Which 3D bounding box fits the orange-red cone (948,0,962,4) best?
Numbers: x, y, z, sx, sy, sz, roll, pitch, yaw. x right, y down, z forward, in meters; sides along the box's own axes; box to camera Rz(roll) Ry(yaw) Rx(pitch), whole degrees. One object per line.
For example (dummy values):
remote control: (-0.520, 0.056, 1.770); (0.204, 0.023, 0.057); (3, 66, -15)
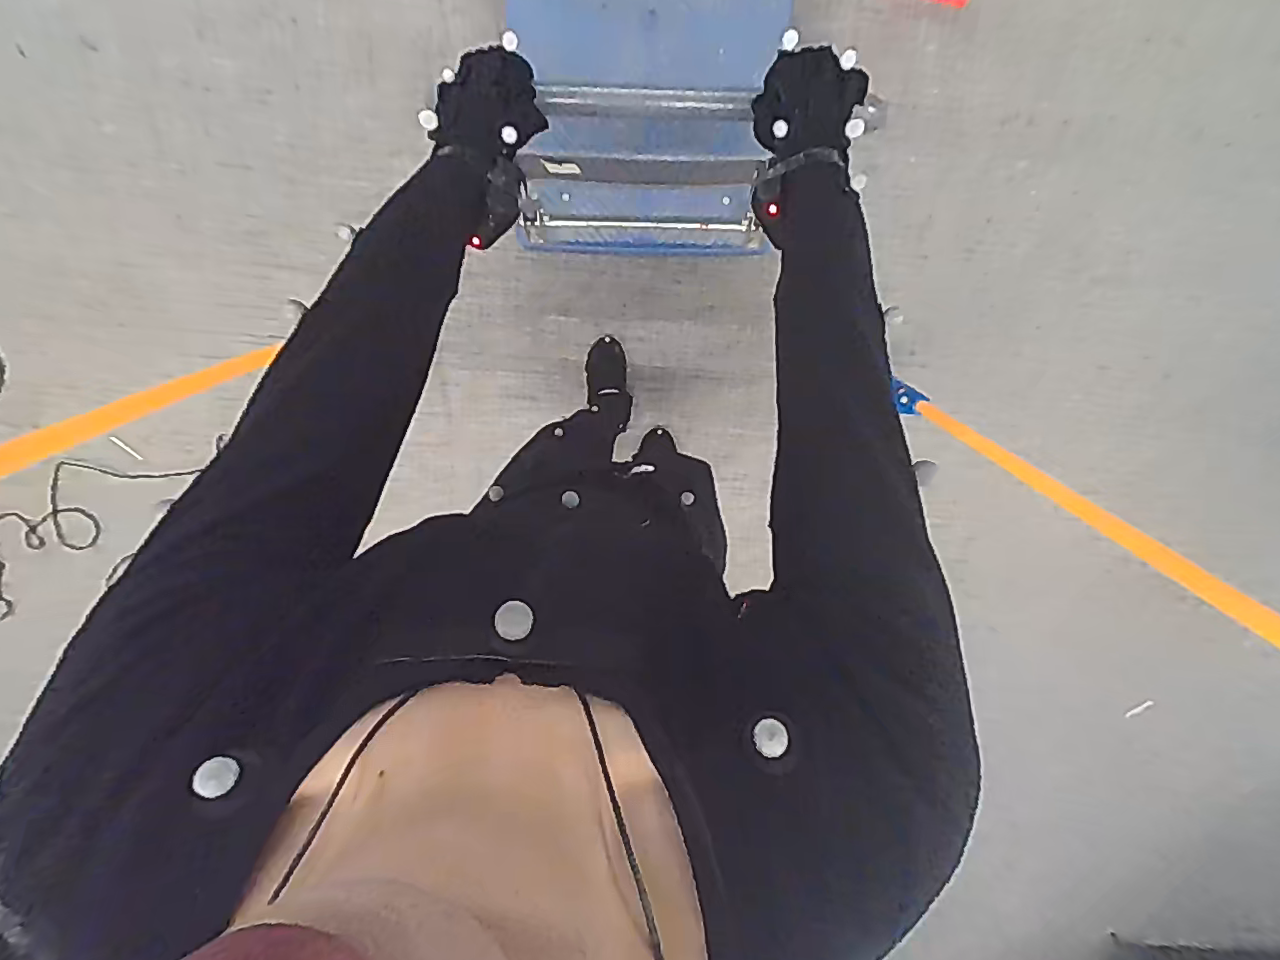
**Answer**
orange-red cone: (0.671, -1.143, 1.031); (0.198, 0.360, 0.199); (15, 106, -4)
